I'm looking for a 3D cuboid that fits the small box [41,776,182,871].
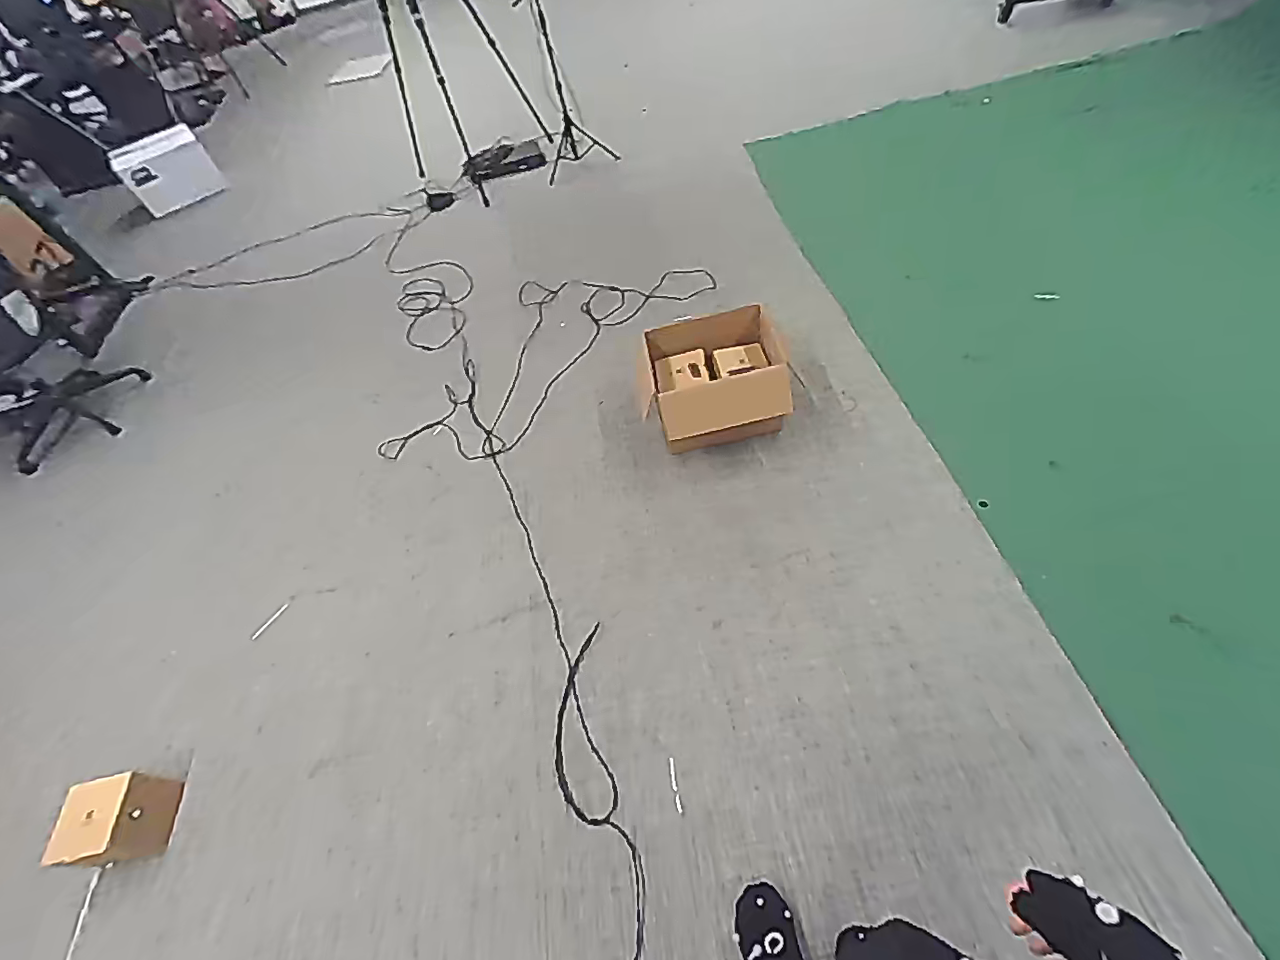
[{"bbox_3d":[-1.331,0.880,1.380,0.168,0.176,0.179,-14,54,1],"label":"small box"}]
